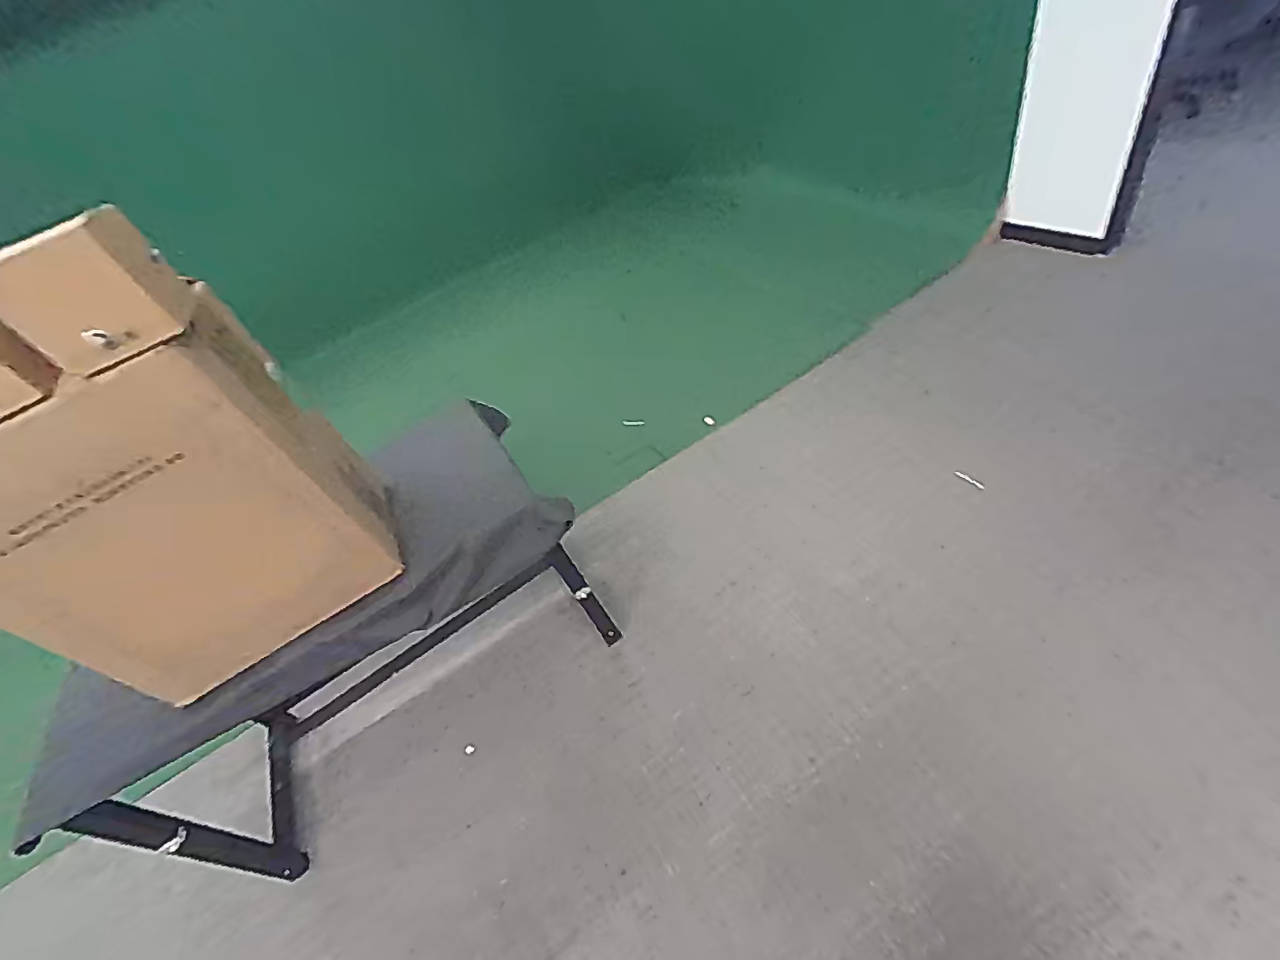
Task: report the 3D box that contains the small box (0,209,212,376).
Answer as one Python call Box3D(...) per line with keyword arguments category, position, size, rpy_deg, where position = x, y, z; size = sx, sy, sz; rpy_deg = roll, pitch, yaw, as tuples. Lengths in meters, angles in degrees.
Box3D(category="small box", position=(-0.812, -0.288, 0.838), size=(0.168, 0.176, 0.179), rpy_deg=(-32, 44, -9))
